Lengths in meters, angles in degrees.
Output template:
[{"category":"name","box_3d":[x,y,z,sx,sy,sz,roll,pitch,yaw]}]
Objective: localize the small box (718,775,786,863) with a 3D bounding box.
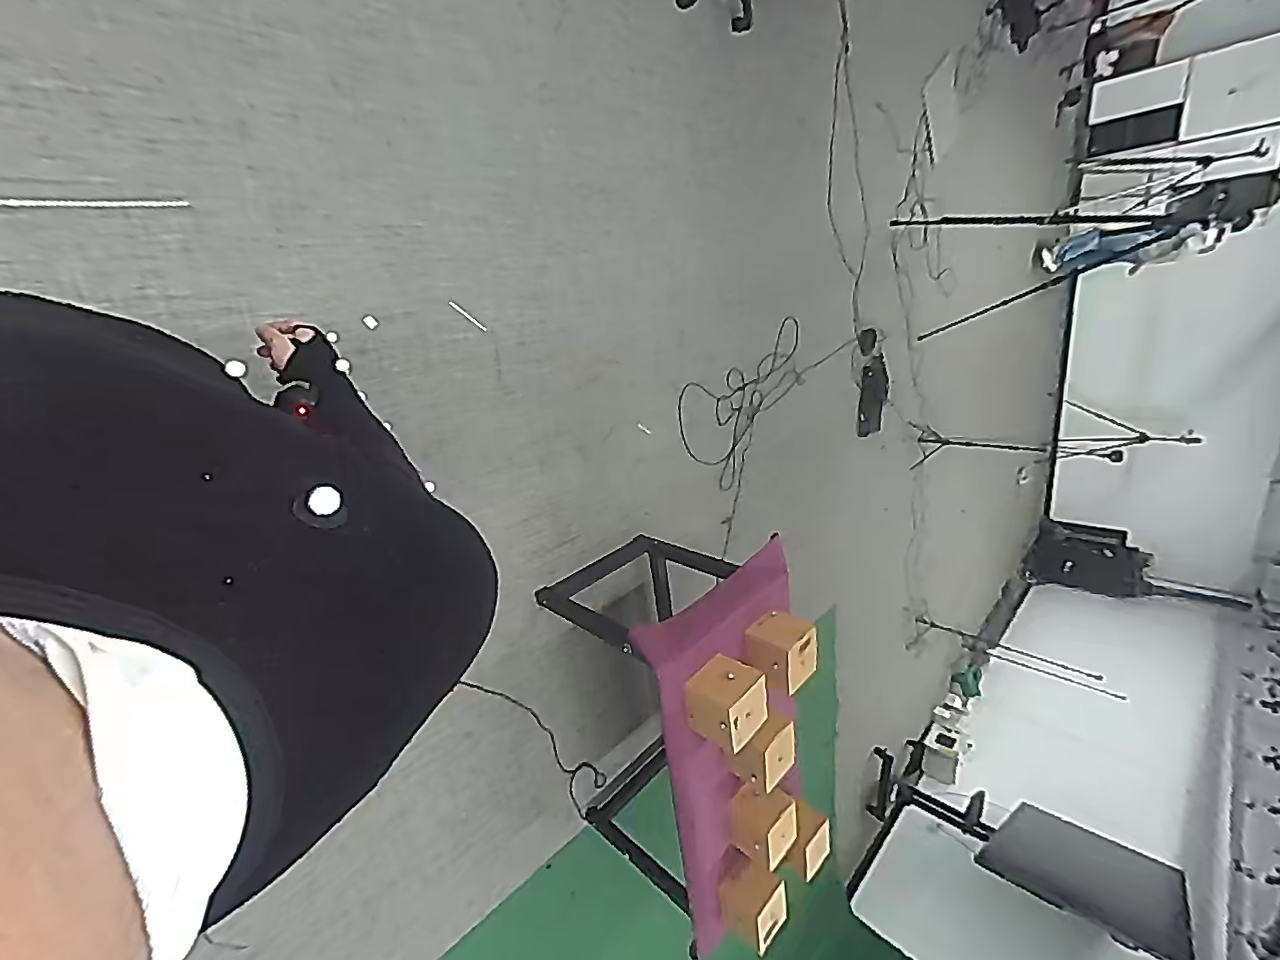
[{"category":"small box","box_3d":[0.389,1.159,1.875,0.168,0.176,0.179,-22,113,-40]}]

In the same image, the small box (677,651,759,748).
[{"category":"small box","box_3d":[0.230,0.637,1.593,0.179,0.176,0.168,-26,117,-40]}]

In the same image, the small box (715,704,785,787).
[{"category":"small box","box_3d":[0.359,0.848,1.771,0.168,0.176,0.179,-23,115,-40]}]

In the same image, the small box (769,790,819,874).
[{"category":"small box","box_3d":[0.577,1.359,2.102,0.168,0.176,0.179,-21,112,-39]}]

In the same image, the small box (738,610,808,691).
[{"category":"small box","box_3d":[0.435,0.548,1.779,0.168,0.176,0.179,-23,116,-39]}]
